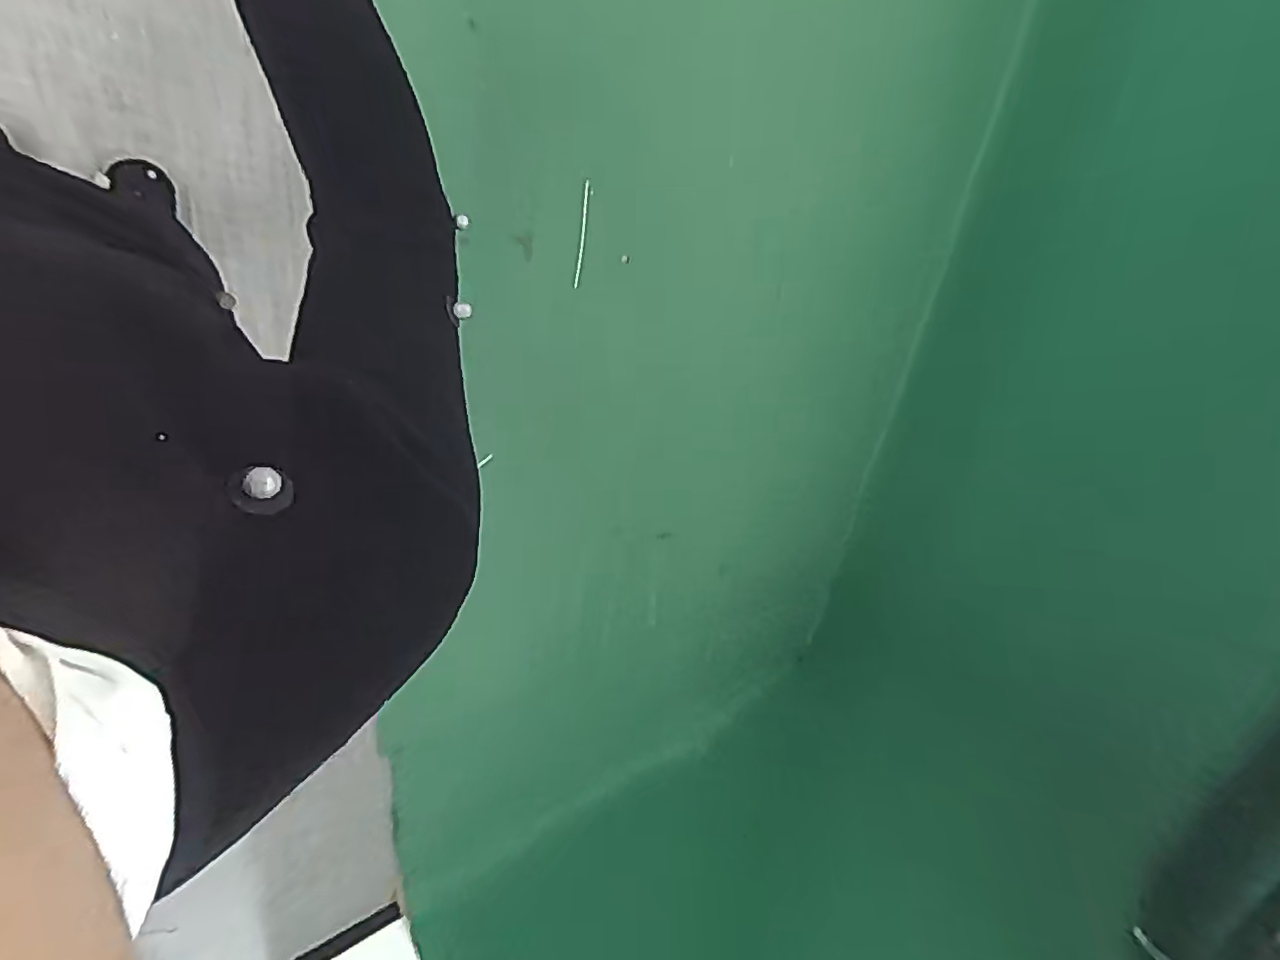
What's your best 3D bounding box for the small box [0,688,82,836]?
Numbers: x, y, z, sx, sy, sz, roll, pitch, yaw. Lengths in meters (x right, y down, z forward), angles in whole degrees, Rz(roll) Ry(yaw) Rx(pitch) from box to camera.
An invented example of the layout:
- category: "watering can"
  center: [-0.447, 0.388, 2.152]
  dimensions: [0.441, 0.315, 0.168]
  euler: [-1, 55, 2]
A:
- category: "small box"
  center: [-1.125, 0.502, 0.958]
  dimensions: [0.179, 0.176, 0.168]
  euler: [-5, 117, -39]
